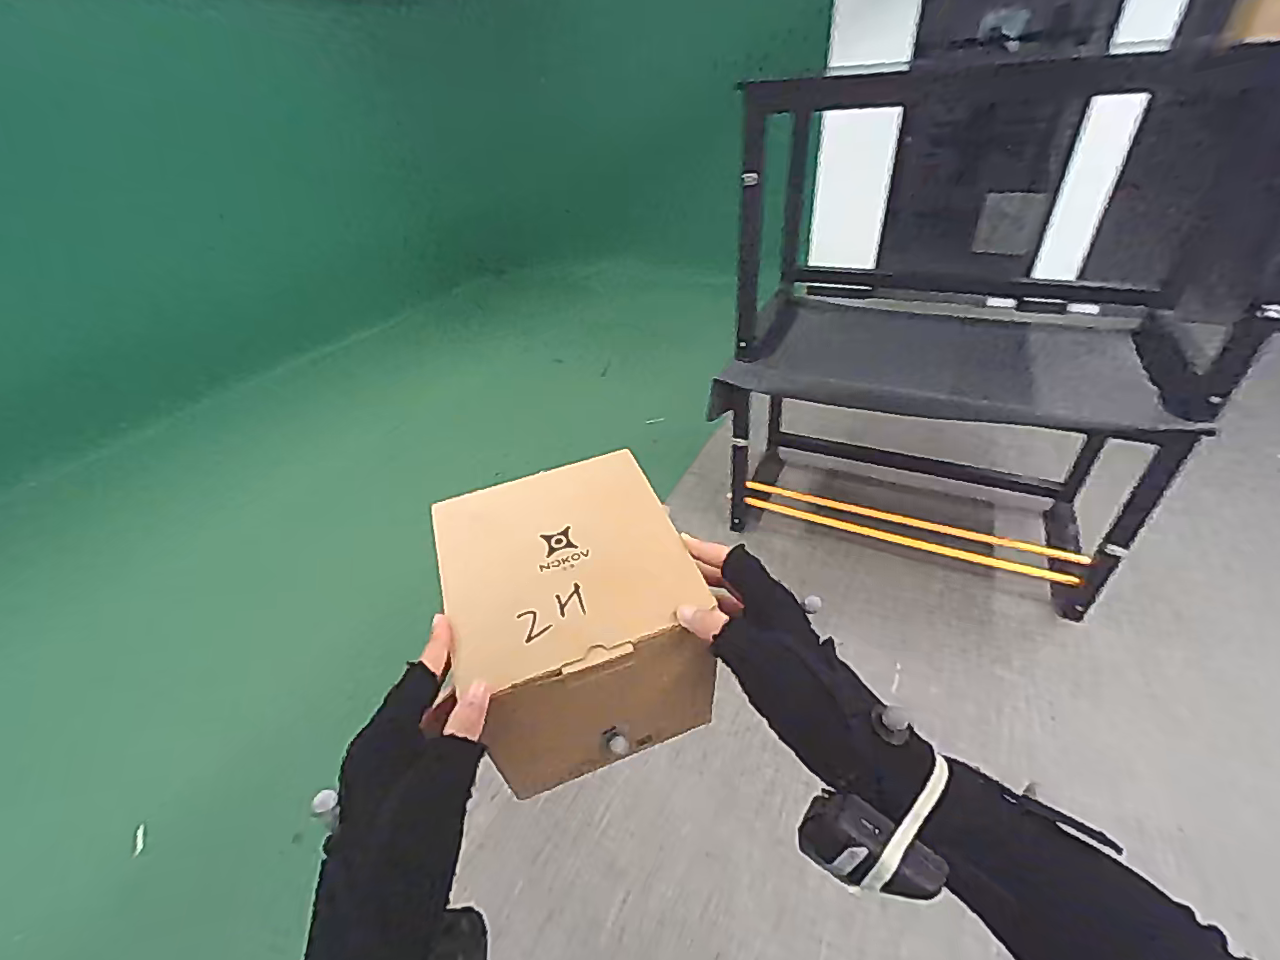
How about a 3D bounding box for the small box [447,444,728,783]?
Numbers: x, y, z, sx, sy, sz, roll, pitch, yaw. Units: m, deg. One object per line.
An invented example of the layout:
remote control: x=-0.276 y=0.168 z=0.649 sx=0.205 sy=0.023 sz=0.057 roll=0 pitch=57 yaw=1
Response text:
small box: x=-0.044 y=0.102 z=0.434 sx=0.168 sy=0.176 sz=0.179 roll=-16 pitch=45 yaw=-11
